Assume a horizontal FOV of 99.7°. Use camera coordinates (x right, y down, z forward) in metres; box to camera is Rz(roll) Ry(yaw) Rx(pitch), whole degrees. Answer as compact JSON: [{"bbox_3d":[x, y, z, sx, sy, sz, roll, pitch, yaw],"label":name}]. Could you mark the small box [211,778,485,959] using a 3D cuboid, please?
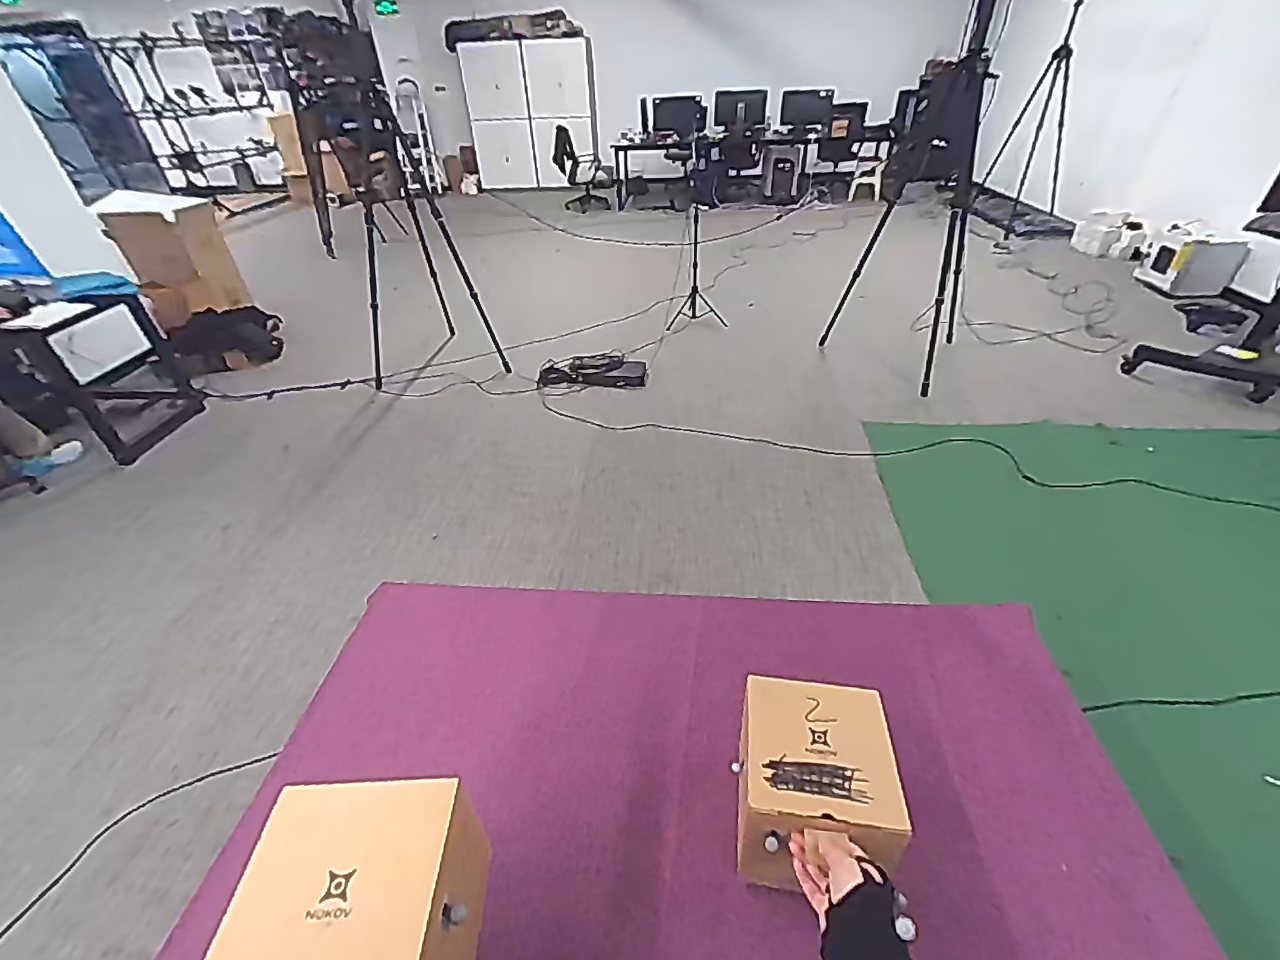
[{"bbox_3d":[-0.250,0.407,0.503,0.168,0.176,0.179,-2,38,-1],"label":"small box"}]
